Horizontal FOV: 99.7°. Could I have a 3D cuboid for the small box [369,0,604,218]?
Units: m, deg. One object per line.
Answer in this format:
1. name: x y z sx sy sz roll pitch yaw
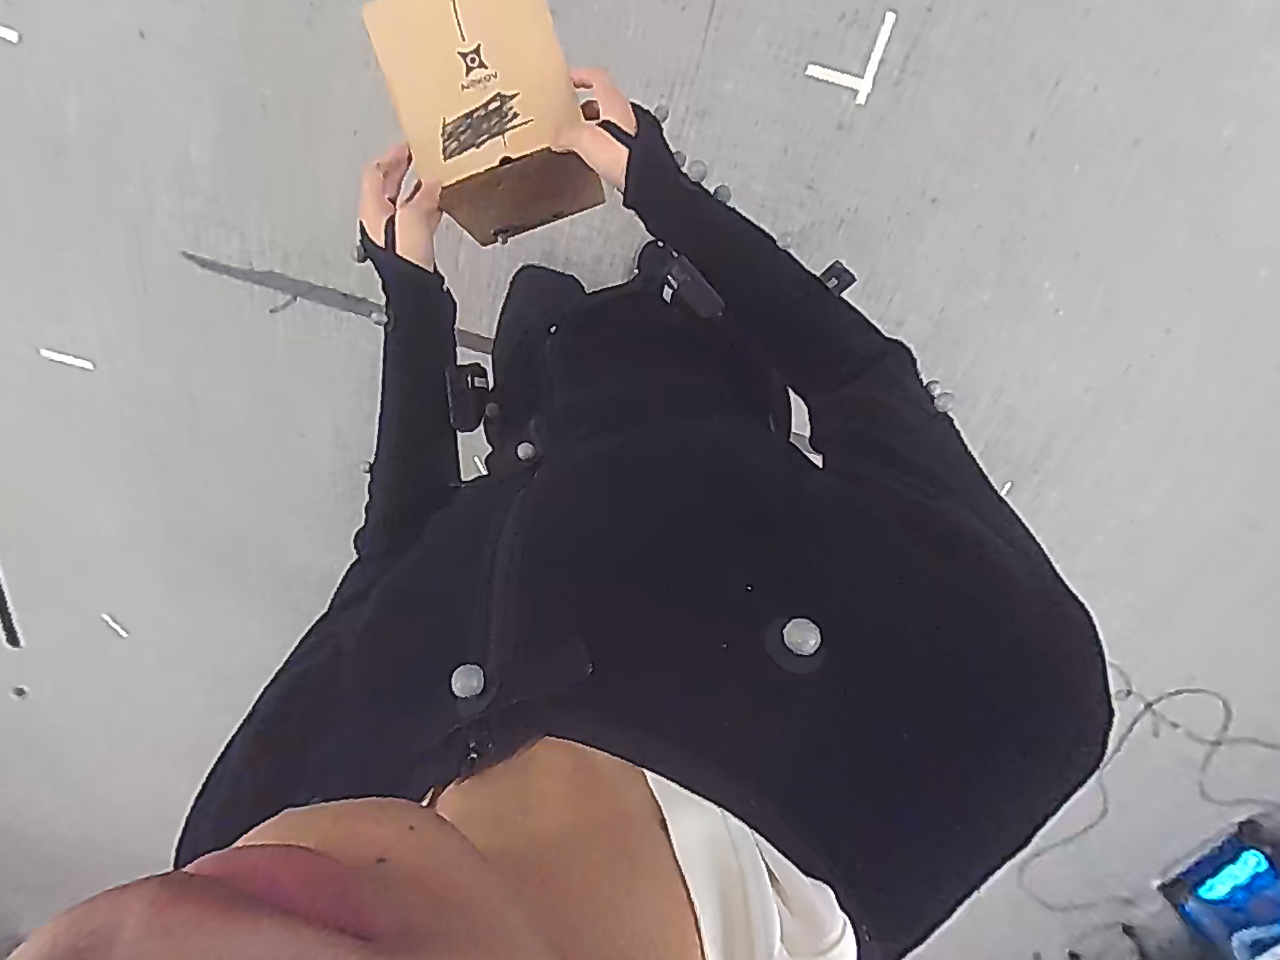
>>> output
1. small box: -0.143 -0.399 0.564 0.168 0.176 0.179 -17 96 3
